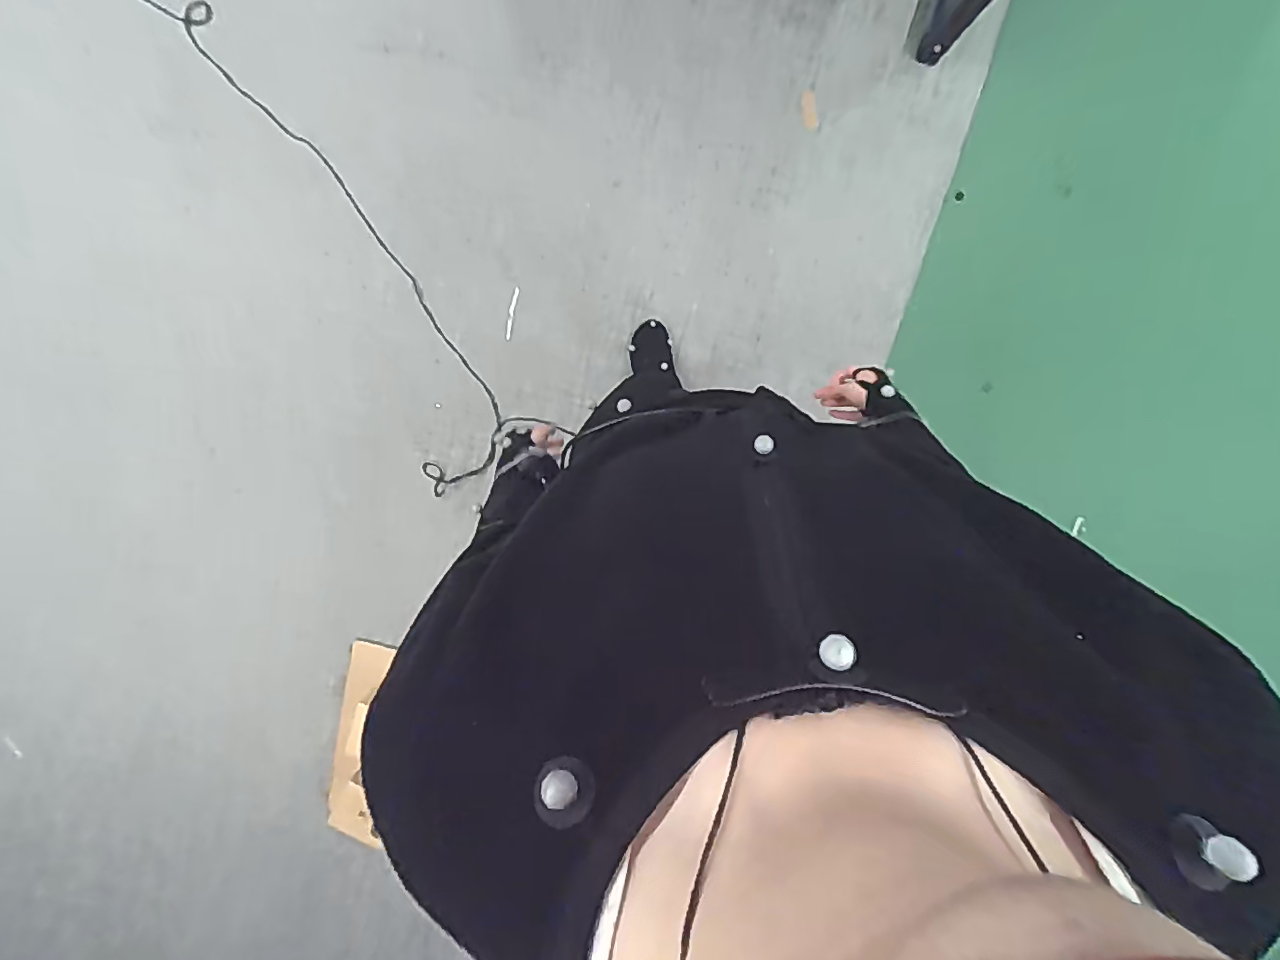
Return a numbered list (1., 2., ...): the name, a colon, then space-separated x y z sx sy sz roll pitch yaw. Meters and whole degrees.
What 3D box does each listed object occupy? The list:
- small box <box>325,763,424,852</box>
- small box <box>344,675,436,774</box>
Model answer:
1. small box: -0.774 0.938 1.599 0.179 0.176 0.168 30 100 -3
2. small box: -0.709 0.694 1.552 0.168 0.176 0.179 19 101 -2
